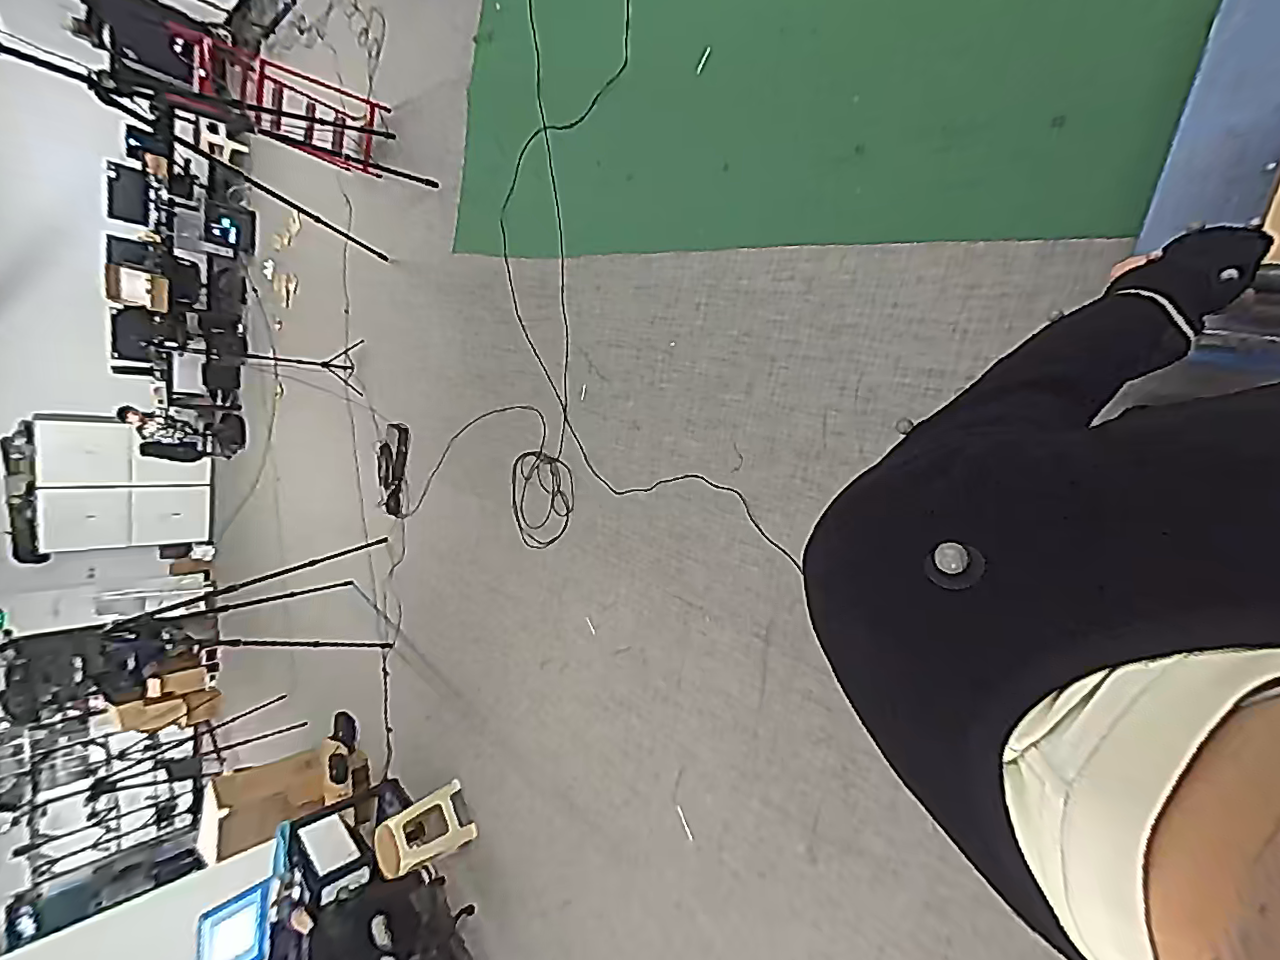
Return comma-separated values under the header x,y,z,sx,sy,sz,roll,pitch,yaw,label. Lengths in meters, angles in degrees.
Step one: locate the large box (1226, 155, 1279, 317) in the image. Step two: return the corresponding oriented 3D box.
x,y,z,sx,sy,sz,roll,pitch,yaw,label
1.145,-0.465,0.780,0.320,0.320,0.408,20,103,40,large box
